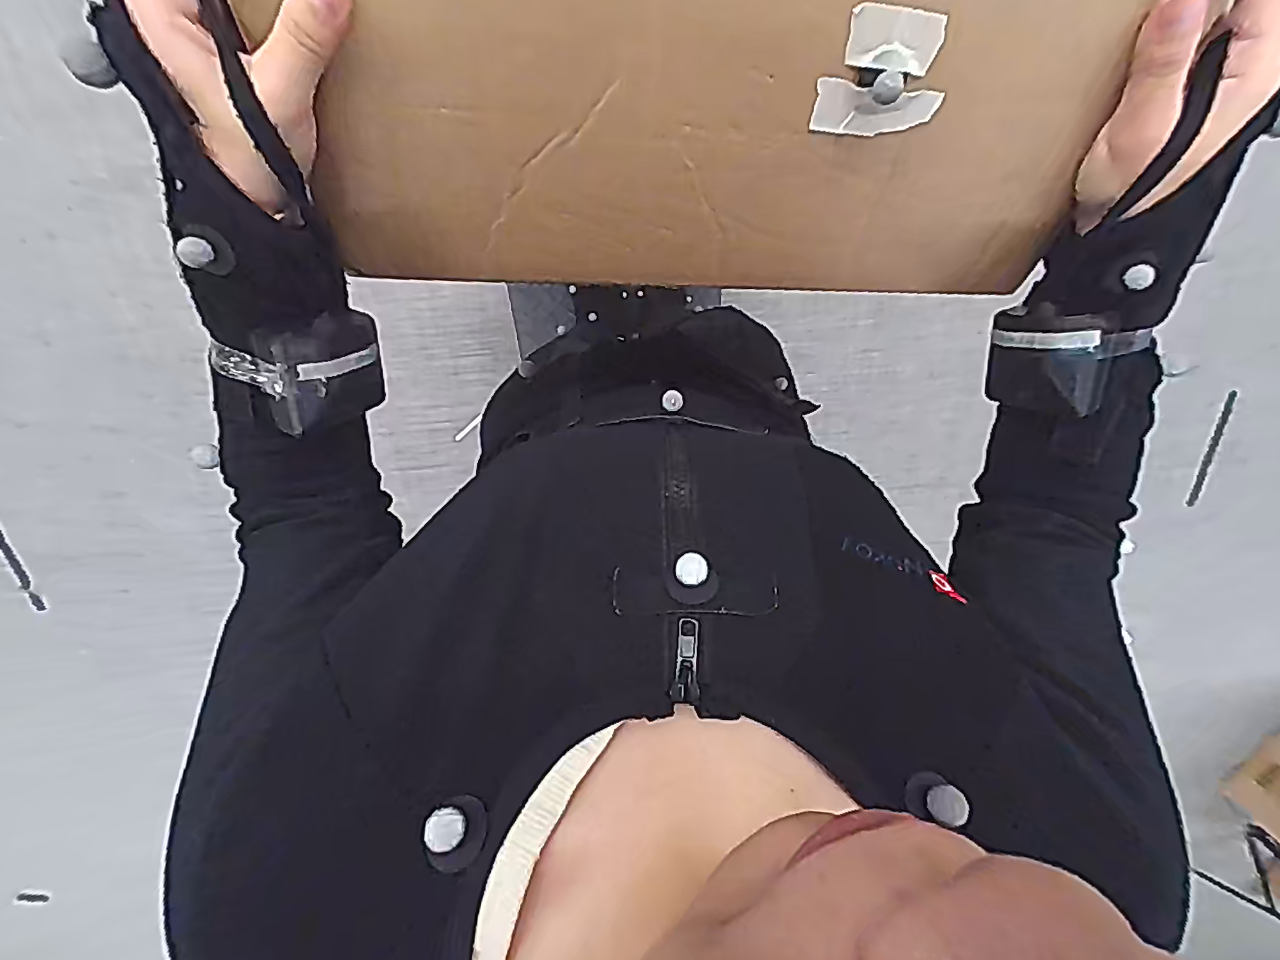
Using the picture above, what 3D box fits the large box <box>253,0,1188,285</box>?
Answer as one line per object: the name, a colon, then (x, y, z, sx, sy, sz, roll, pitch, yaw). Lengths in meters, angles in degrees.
large box: (0.031, -0.333, 0.300, 0.408, 0.320, 0.320, -2, 146, -6)
